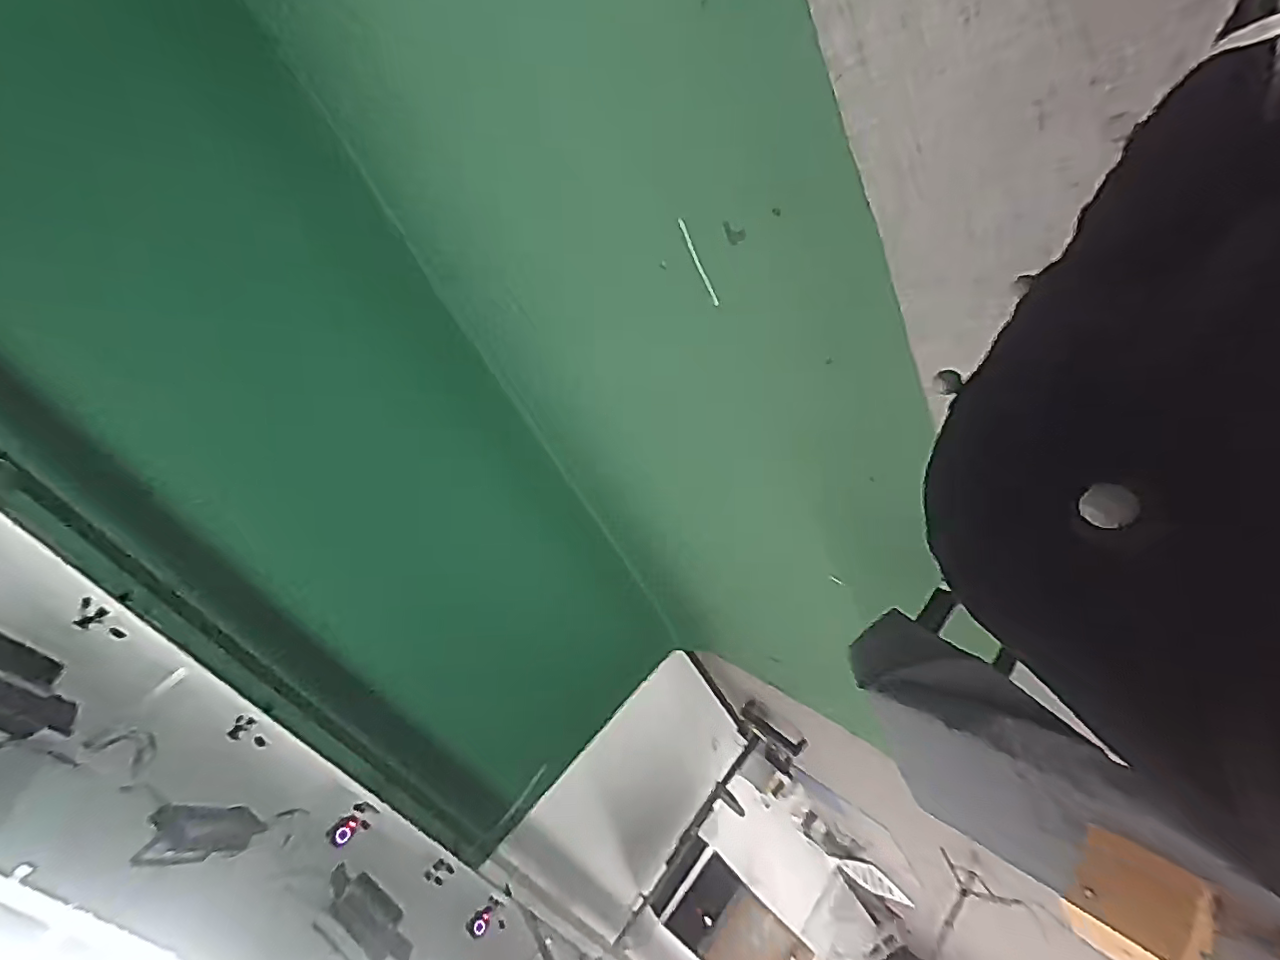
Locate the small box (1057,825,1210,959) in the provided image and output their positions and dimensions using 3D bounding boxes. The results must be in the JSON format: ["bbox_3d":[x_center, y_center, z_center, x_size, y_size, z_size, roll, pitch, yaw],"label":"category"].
[{"bbox_3d":[0.932,0.805,1.018,0.179,0.176,0.168,10,138,57],"label":"small box"}]
